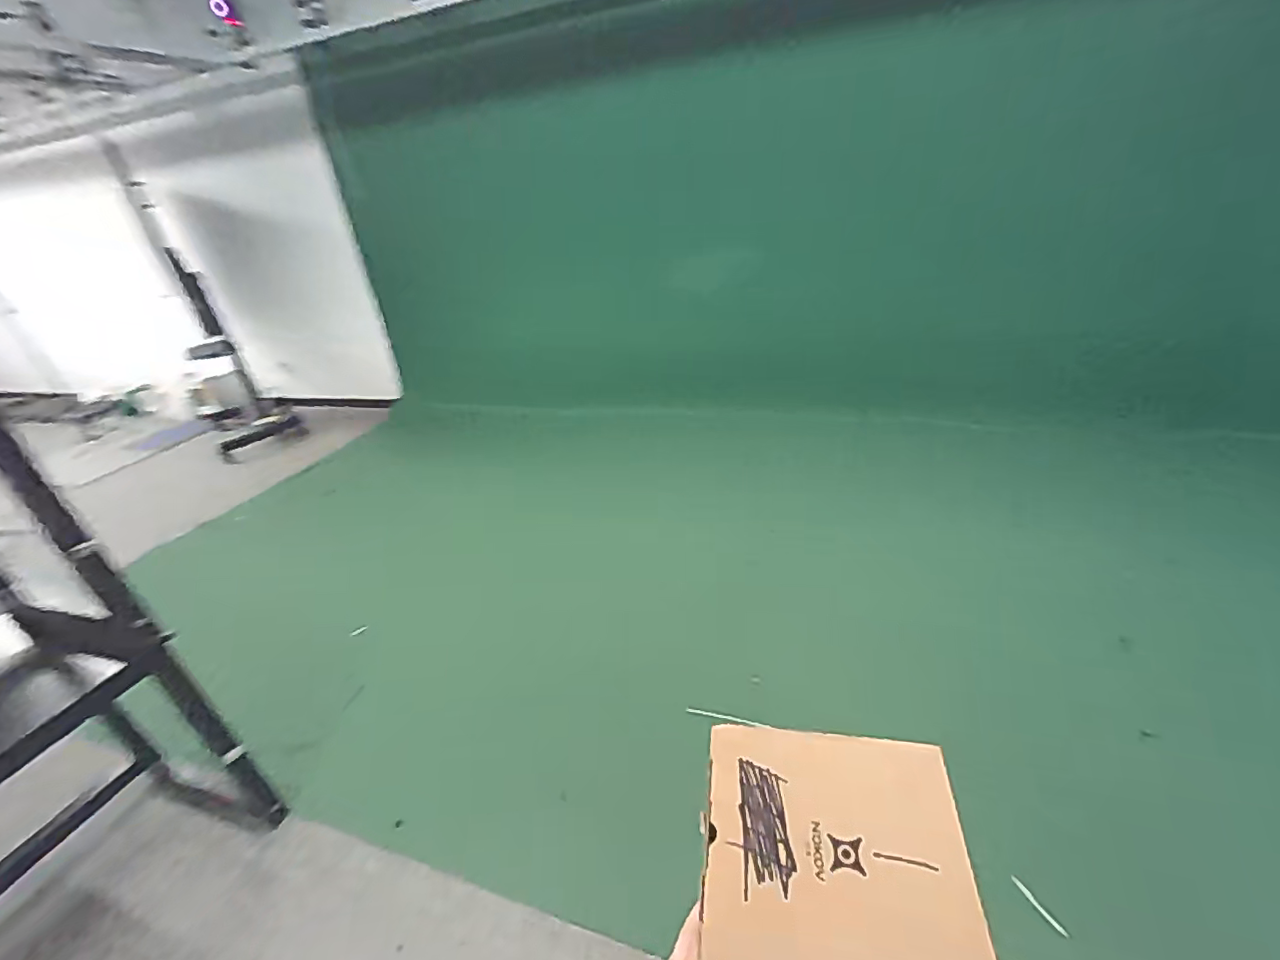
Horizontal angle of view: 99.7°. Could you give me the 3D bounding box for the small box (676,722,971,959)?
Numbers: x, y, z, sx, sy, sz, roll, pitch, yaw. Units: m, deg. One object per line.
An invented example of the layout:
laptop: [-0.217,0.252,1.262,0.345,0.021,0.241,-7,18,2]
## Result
small box: [0.127,0.317,0.423,0.179,0.176,0.168,1,38,10]
